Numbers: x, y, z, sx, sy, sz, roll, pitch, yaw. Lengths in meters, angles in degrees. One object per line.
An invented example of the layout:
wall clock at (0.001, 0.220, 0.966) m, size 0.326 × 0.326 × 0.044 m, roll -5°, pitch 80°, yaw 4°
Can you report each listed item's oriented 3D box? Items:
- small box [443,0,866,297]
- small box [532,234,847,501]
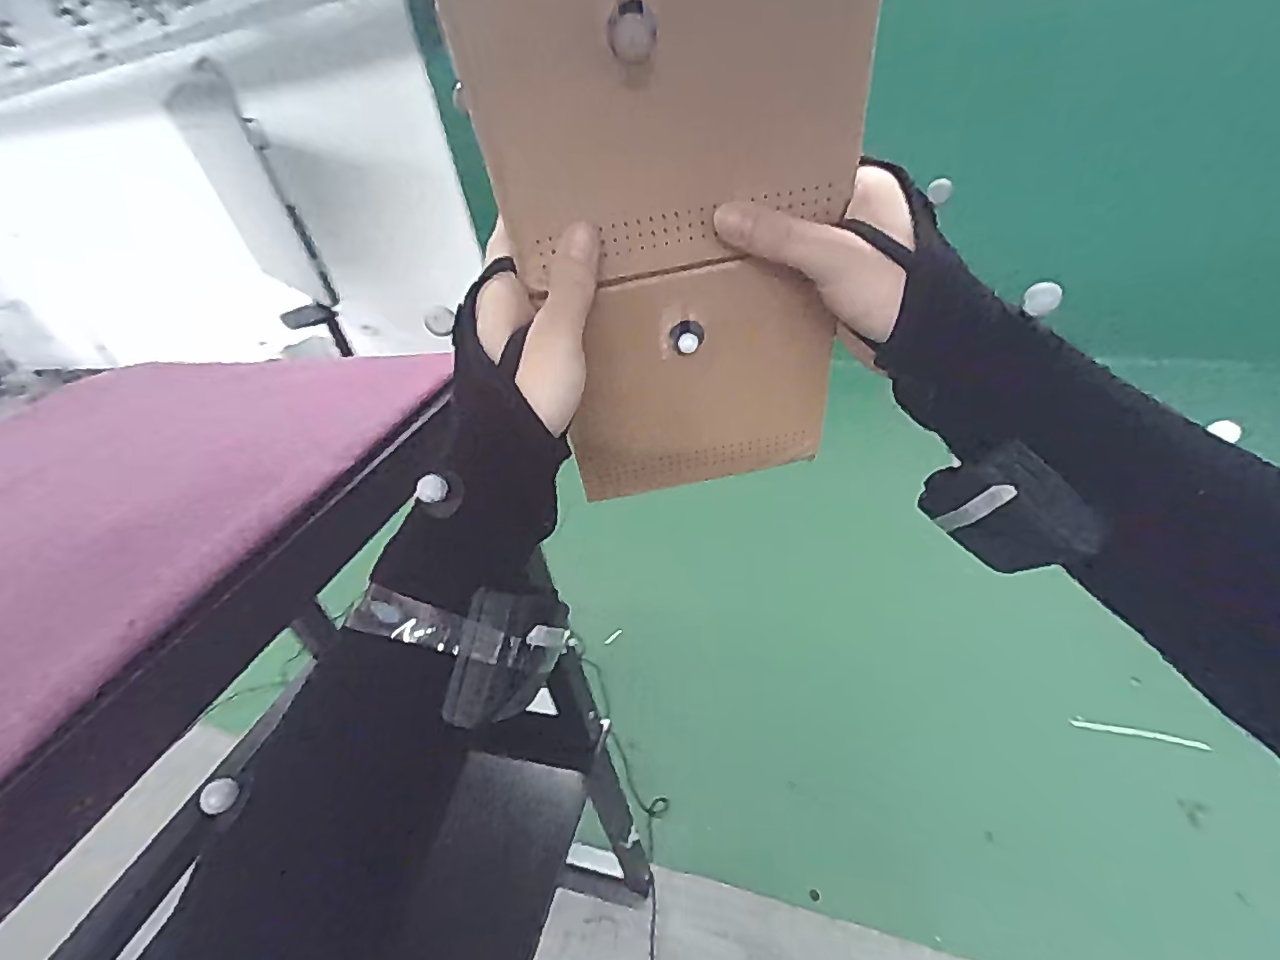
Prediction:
small box at (0.007, -0.217, 0.286) m, size 0.179 × 0.176 × 0.168 m, roll -11°, pitch 45°, yaw 1°
small box at (0.030, -0.103, 0.400) m, size 0.179 × 0.176 × 0.168 m, roll -10°, pitch 45°, yaw 1°
